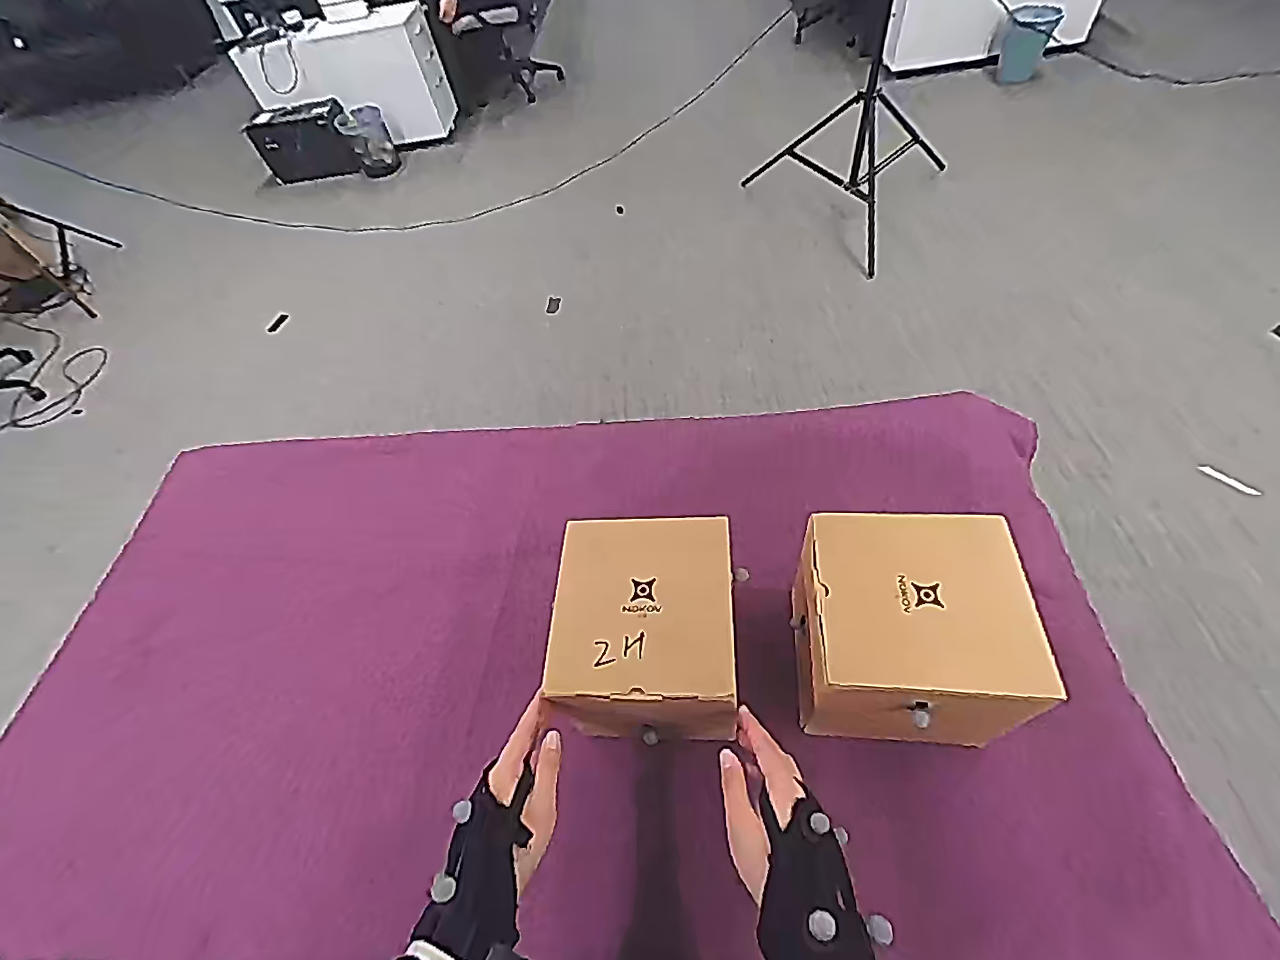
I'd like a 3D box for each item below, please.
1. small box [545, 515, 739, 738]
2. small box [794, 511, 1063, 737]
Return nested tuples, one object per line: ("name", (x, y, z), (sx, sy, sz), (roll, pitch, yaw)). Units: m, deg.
("small box", (0.015, 0.153, 0.562), (0.168, 0.176, 0.179), (-2, 54, 9))
("small box", (0.254, 0.145, 0.531), (0.179, 0.176, 0.168), (0, 53, 10))
